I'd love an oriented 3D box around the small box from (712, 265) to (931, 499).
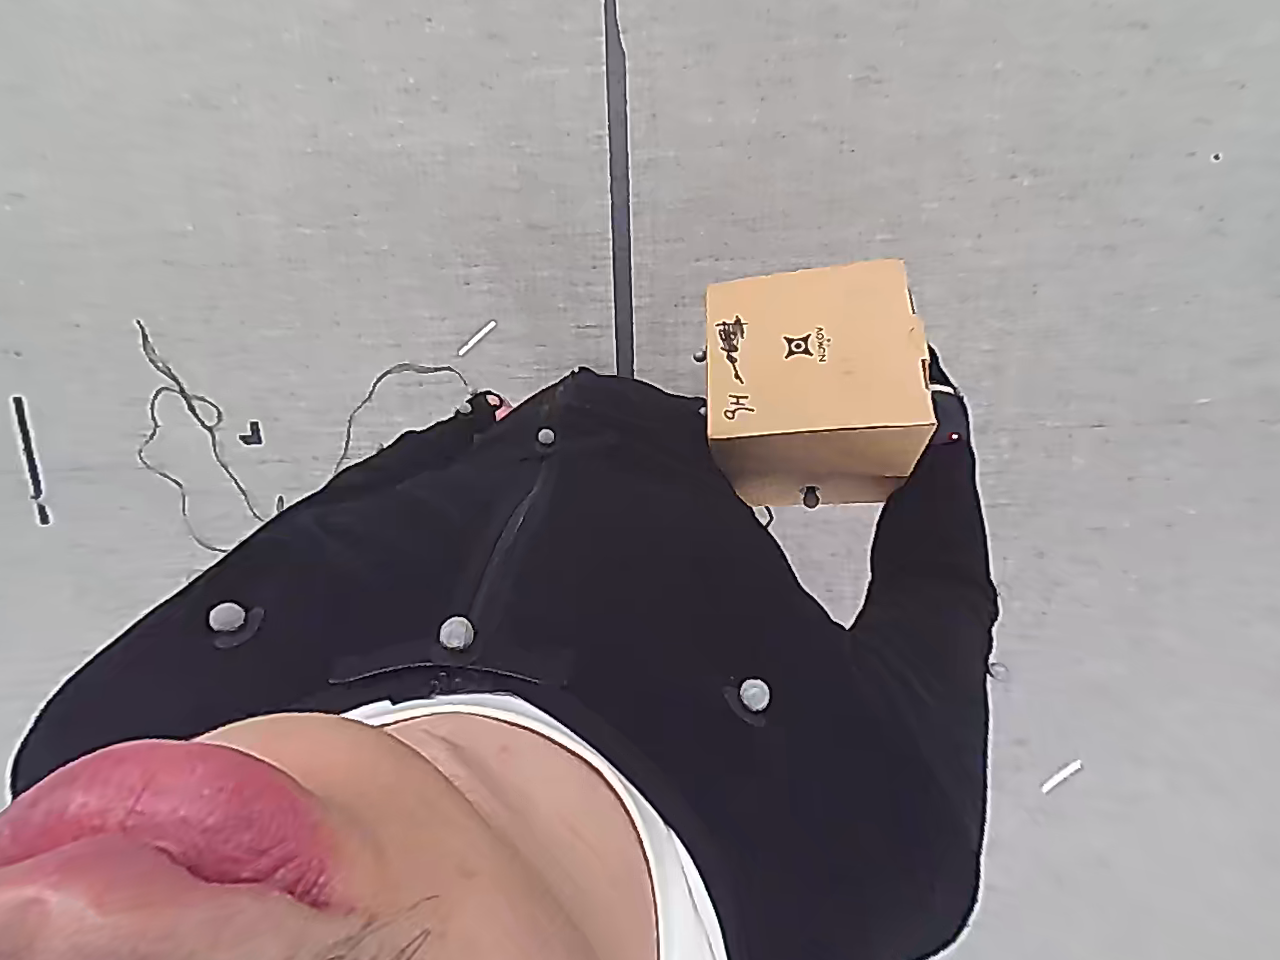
[{"bbox_3d":[0.166,-0.085,0.545,0.179,0.176,0.168,-2,66,12],"label":"small box"}]
